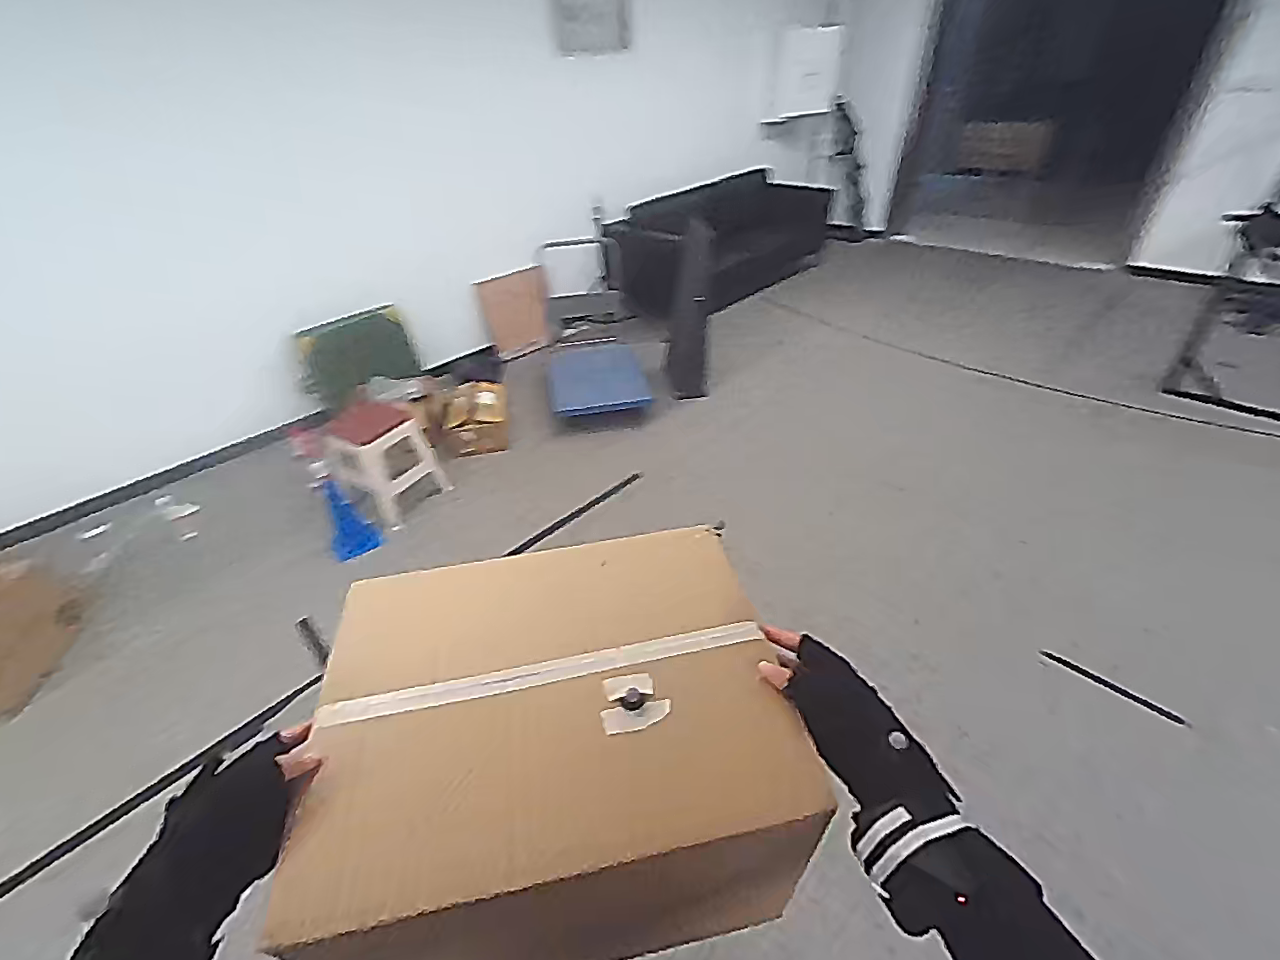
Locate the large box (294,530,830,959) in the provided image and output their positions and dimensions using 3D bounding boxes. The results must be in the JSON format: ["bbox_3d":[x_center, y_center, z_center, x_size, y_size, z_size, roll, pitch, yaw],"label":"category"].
[{"bbox_3d":[-0.071,0.297,0.598,0.408,0.320,0.320,-8,40,-8],"label":"large box"}]
